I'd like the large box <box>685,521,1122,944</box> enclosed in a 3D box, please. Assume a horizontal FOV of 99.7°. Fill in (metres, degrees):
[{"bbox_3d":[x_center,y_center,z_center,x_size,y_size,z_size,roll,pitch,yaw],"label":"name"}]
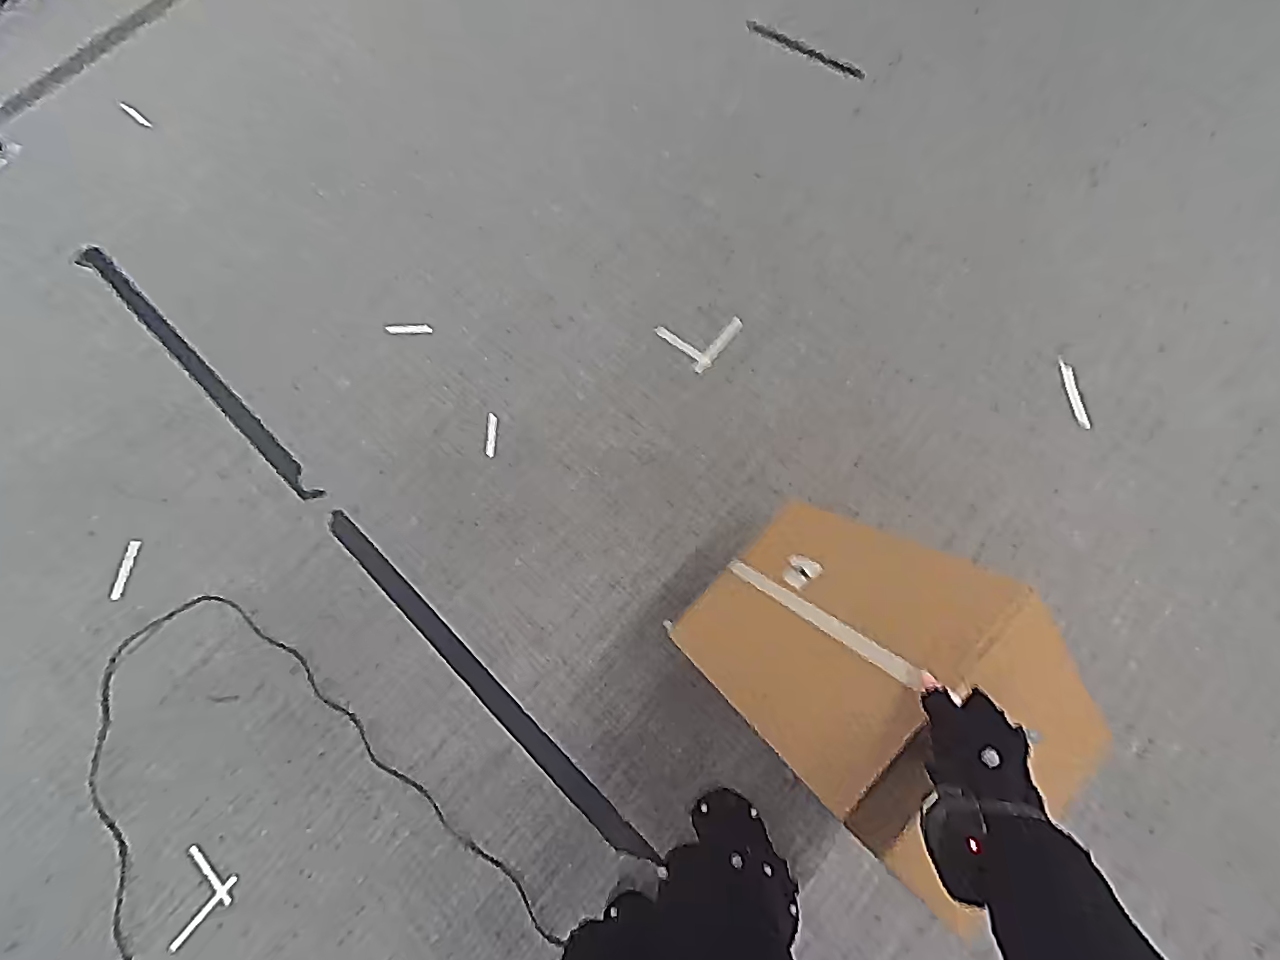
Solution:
[{"bbox_3d":[0.341,0.309,0.778,0.320,0.408,0.320,-44,111,-8],"label":"large box"}]
